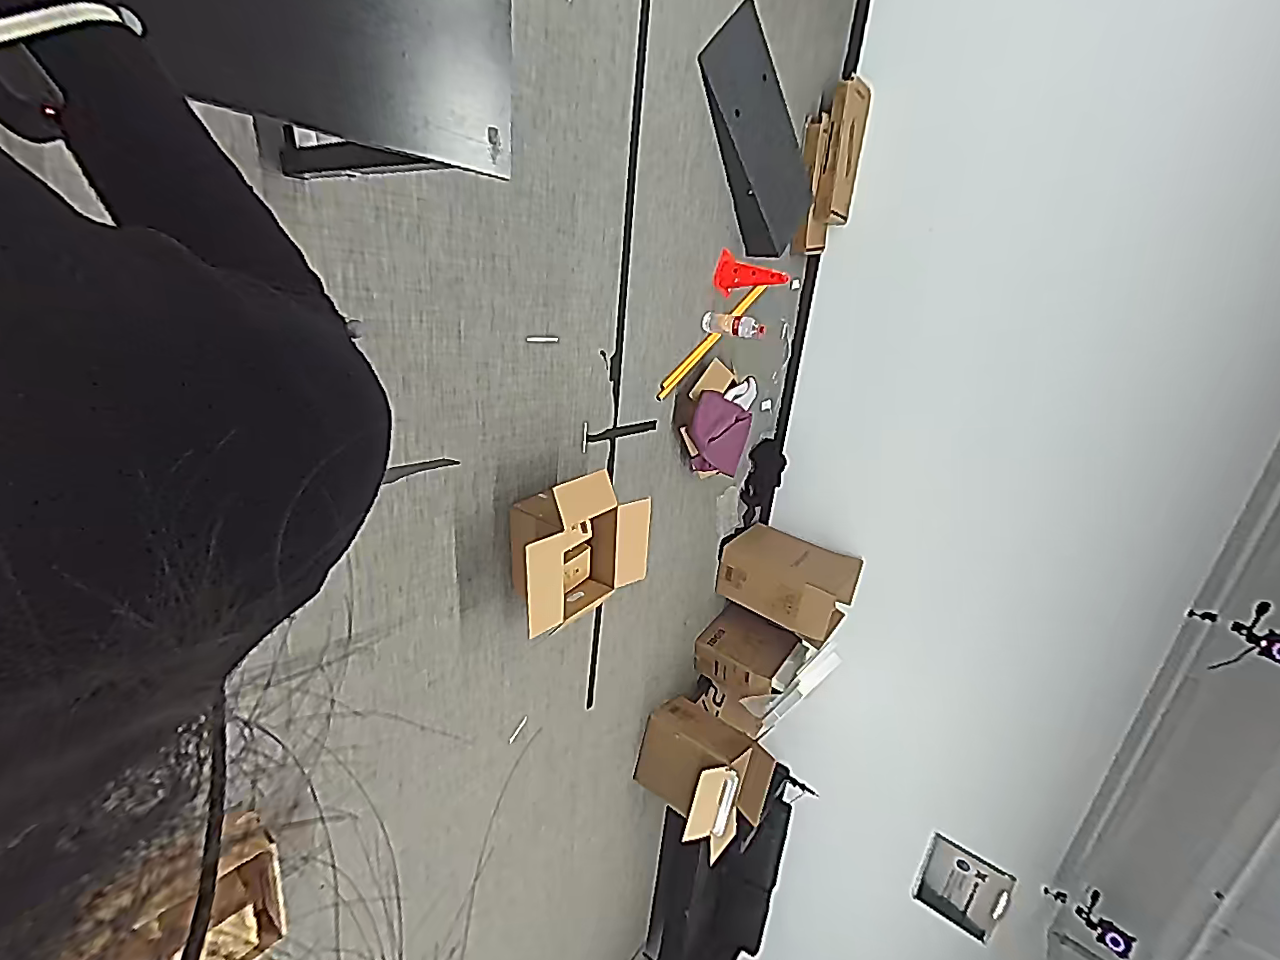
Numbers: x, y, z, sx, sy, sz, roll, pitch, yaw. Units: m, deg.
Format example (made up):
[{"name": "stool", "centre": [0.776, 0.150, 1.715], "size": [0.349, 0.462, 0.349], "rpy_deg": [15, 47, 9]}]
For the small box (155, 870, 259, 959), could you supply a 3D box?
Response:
[{"name": "small box", "centre": [-1.174, 1.222, 1.468], "size": [0.179, 0.176, 0.168], "rpy_deg": [-15, 116, -50]}]
